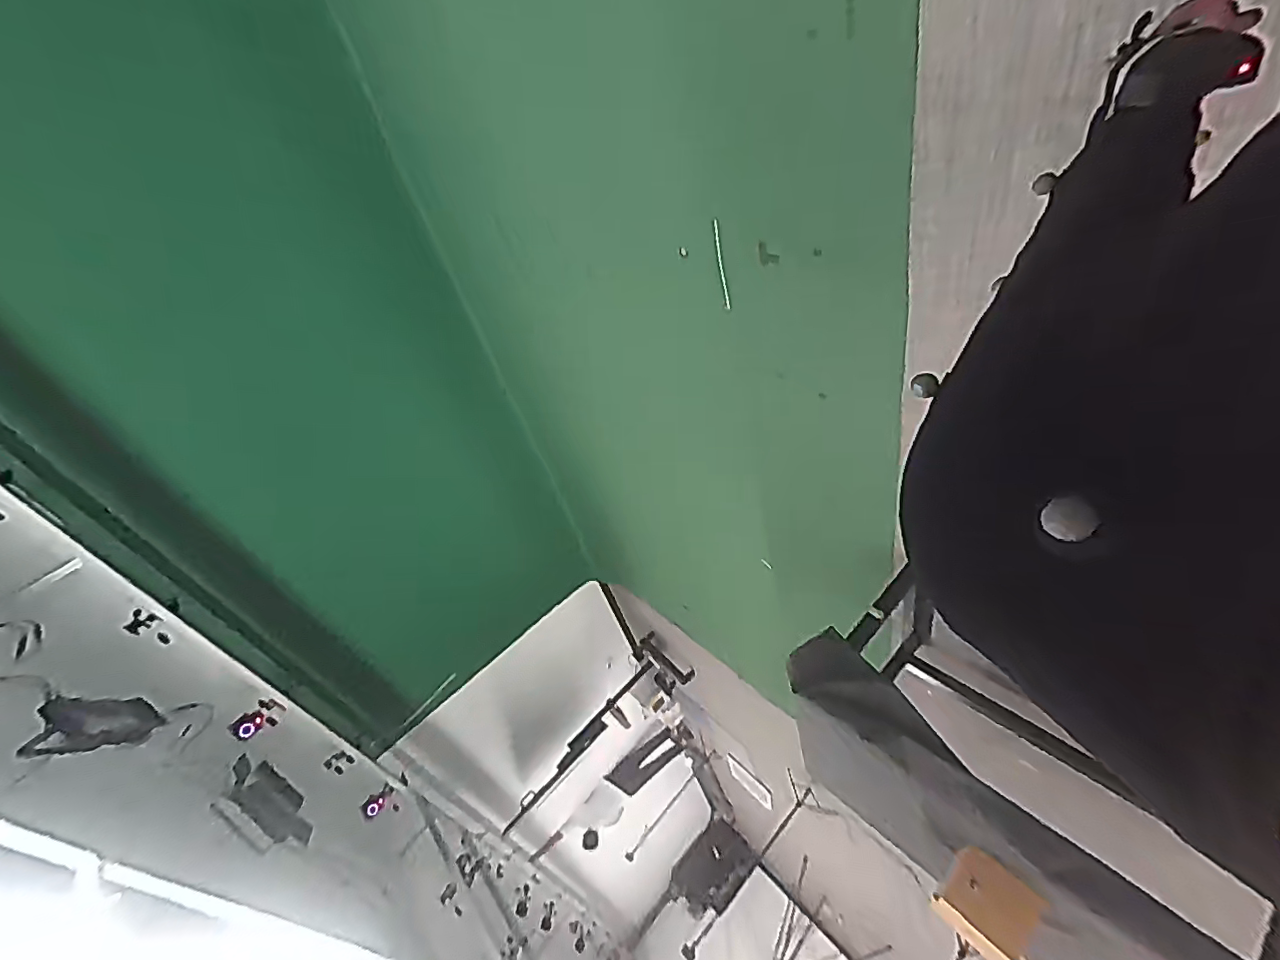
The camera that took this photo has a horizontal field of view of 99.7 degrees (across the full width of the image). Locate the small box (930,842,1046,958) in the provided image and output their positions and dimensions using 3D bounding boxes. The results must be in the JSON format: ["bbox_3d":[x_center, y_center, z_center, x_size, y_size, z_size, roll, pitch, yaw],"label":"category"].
[{"bbox_3d":[0.885,1.062,1.381,0.179,0.176,0.168,33,153,35],"label":"small box"}]
